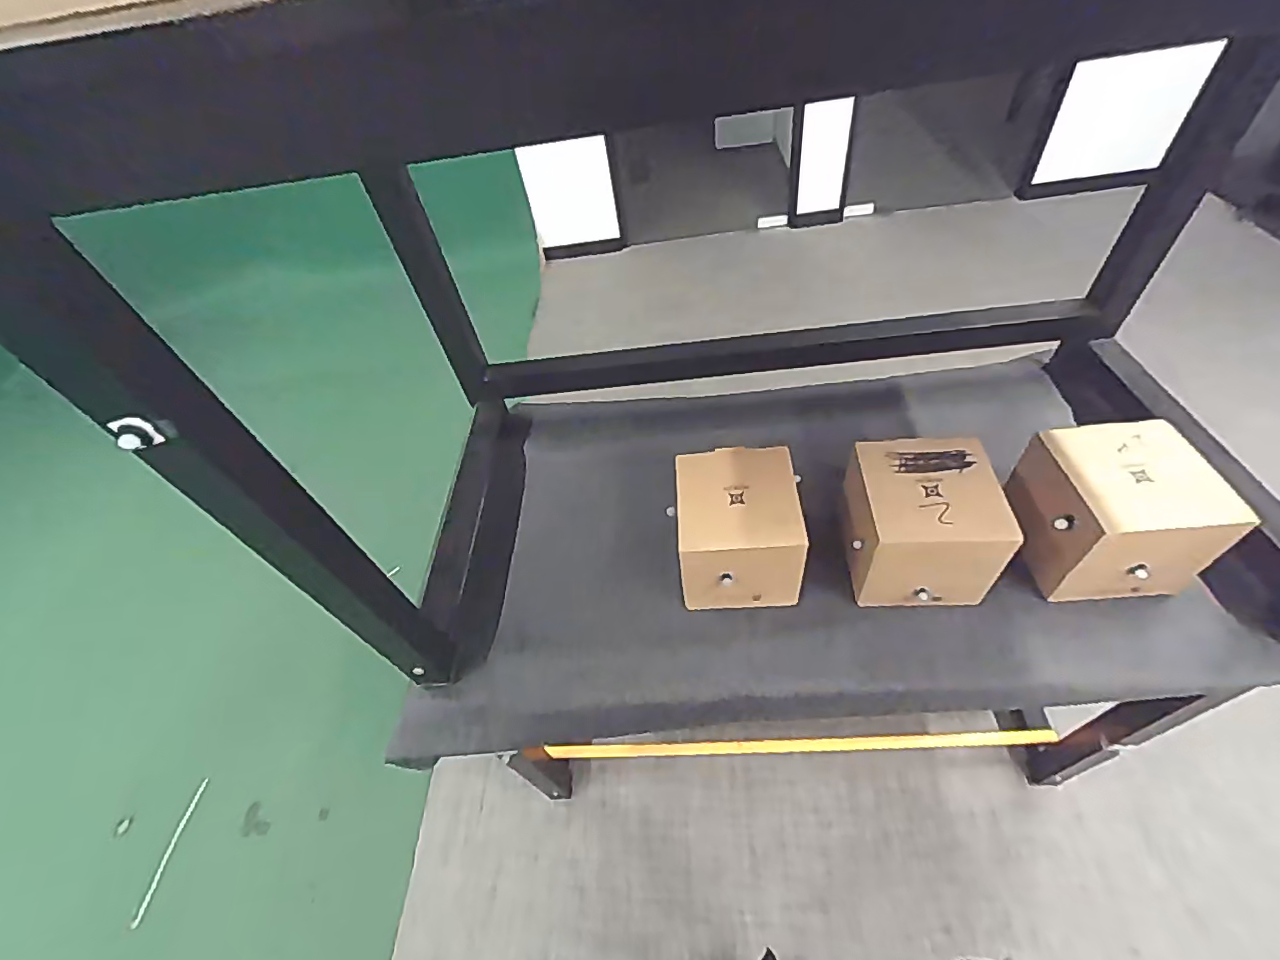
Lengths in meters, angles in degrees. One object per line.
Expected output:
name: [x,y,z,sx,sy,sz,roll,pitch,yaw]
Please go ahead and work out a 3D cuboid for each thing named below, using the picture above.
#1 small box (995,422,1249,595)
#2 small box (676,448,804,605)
small box: [0.632,0.046,0.741,0.168,0.176,0.179,-5,48,5]
small box: [0.143,0.076,0.807,0.168,0.176,0.179,-4,49,6]
